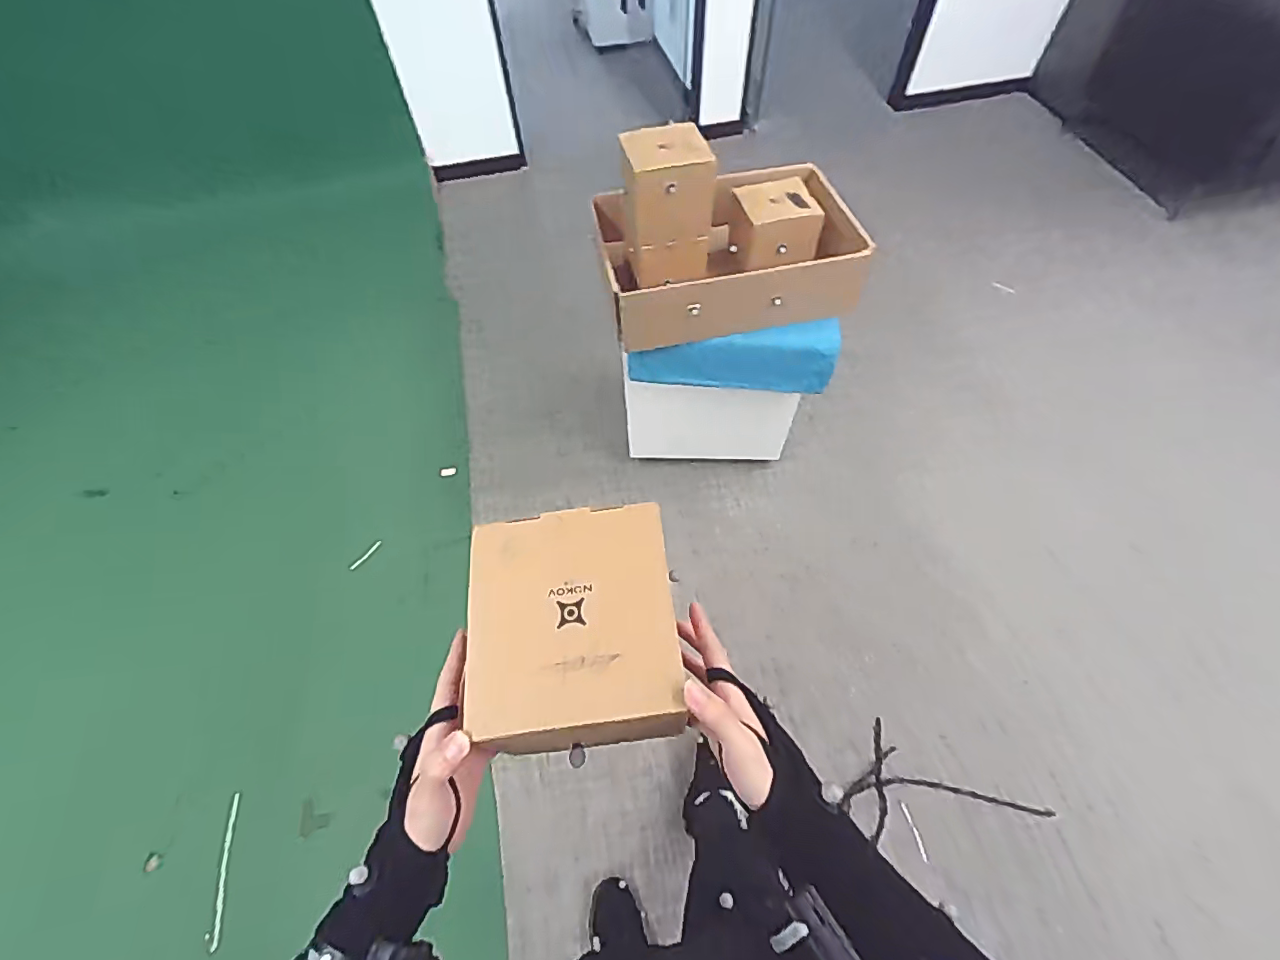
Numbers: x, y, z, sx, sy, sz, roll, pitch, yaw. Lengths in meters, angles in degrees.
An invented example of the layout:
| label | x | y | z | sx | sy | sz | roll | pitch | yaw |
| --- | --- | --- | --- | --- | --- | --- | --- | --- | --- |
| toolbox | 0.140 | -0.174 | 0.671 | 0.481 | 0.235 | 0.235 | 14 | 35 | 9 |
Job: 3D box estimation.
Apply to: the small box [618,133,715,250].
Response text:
| label | x | y | z | sx | sy | sz | roll | pitch | yaw |
| --- | --- | --- | --- | --- | --- | --- | --- | --- | --- |
| small box | 0.056 | -0.637 | 1.205 | 0.179 | 0.176 | 0.168 | -12 | 58 | -7 |

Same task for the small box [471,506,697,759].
| label | x | y | z | sx | sy | sz | roll | pitch | yaw |
| --- | --- | --- | --- | --- | --- | --- | --- | --- | --- |
| small box | -0.044 | 0.145 | 0.497 | 0.168 | 0.176 | 0.179 | -7 | 59 | -1 |
